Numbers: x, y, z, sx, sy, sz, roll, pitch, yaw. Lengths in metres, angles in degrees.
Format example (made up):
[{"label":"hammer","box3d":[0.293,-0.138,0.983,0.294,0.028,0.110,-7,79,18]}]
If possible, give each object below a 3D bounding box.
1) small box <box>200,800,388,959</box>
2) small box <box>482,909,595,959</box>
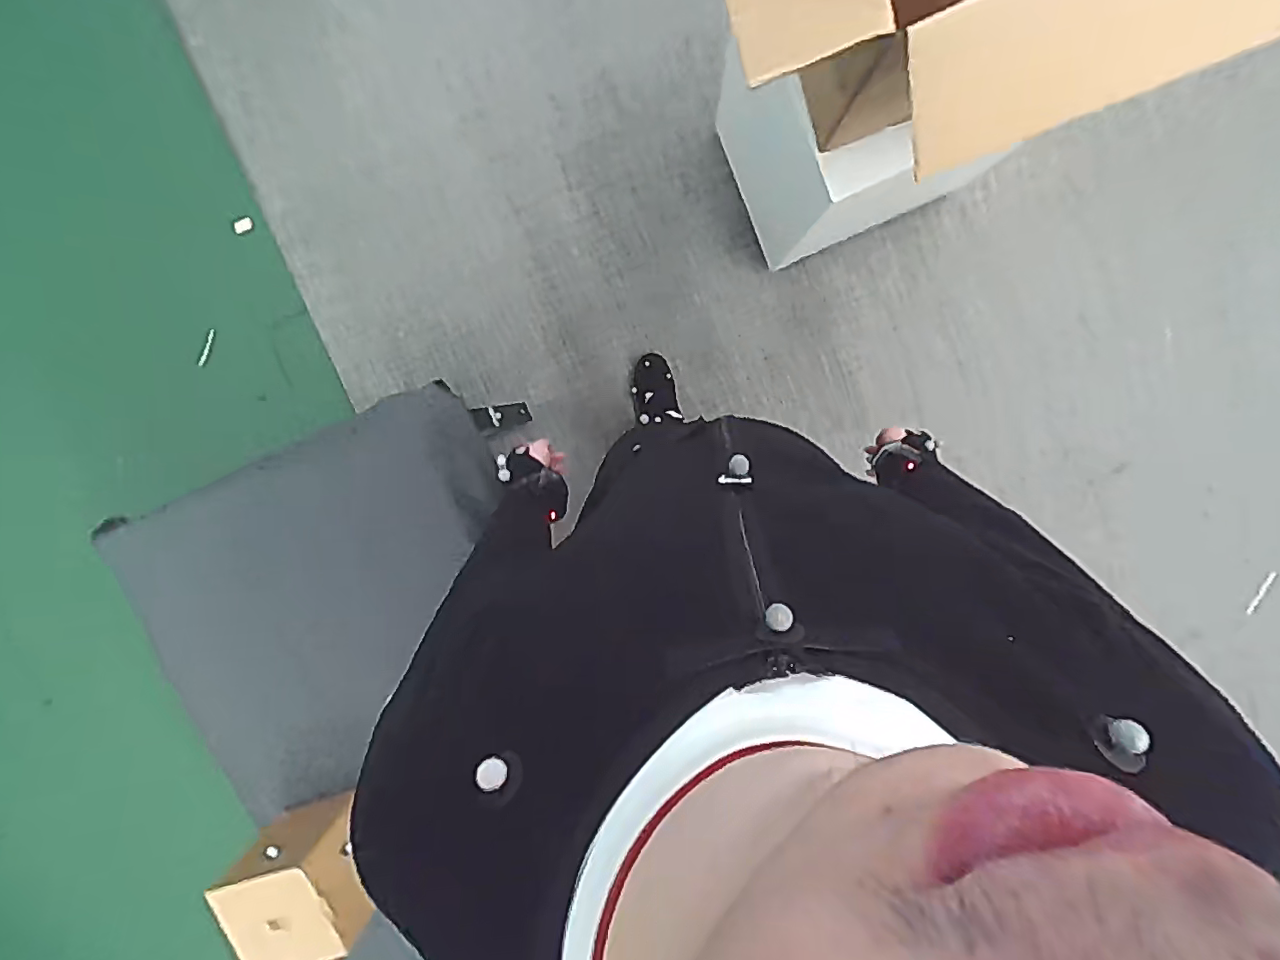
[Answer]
[{"label":"small box","box3d":[-0.547,0.667,0.888,0.179,0.176,0.168,-20,97,7]},{"label":"small box","box3d":[-0.175,0.882,0.917,0.179,0.176,0.168,-21,97,7]}]
